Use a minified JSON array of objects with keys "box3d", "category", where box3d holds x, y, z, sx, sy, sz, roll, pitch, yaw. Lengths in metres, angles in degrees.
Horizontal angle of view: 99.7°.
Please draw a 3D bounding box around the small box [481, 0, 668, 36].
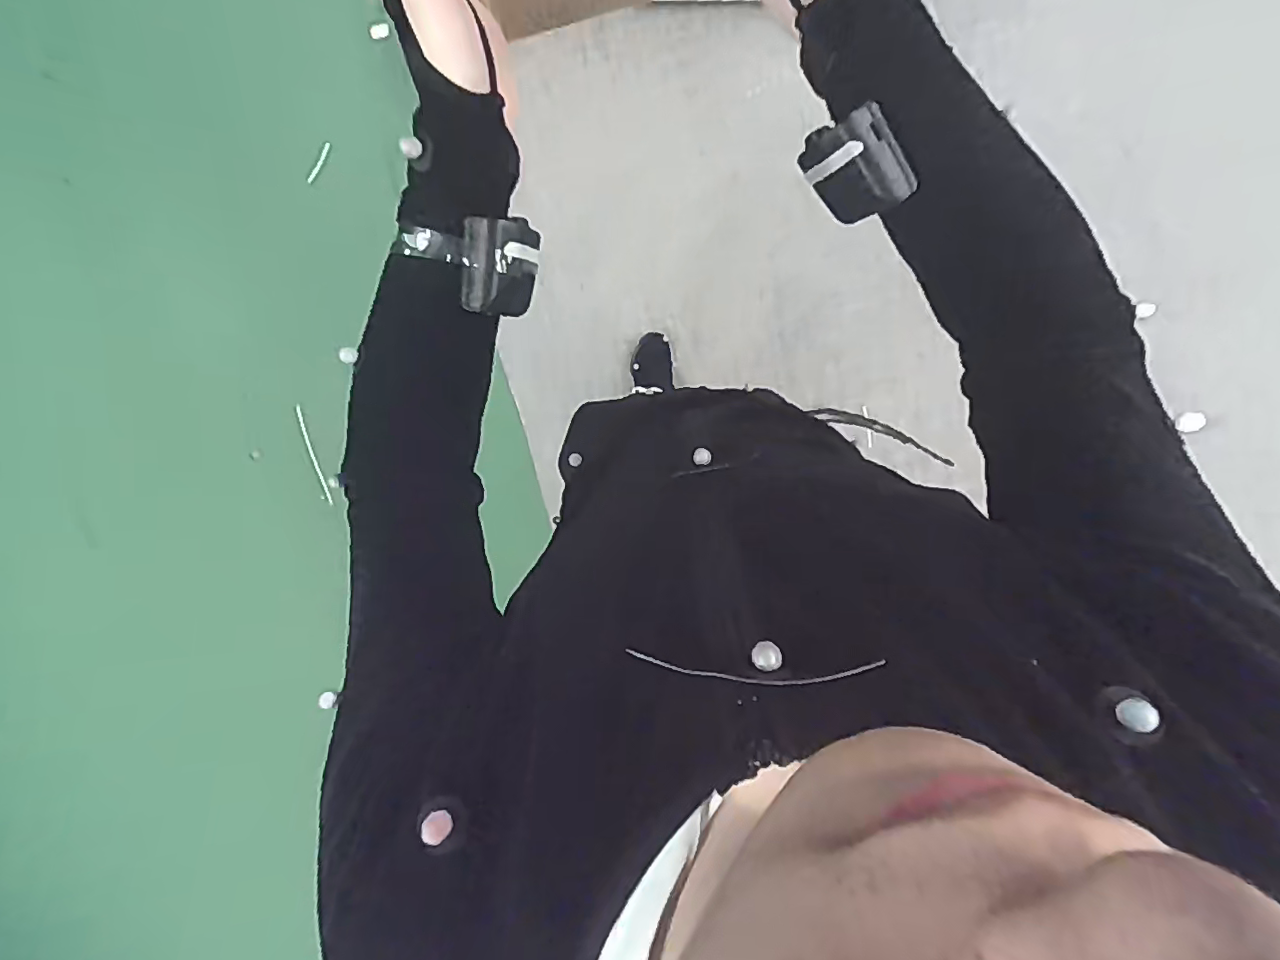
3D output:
[{"box3d":[-0.040,-0.394,0.300,0.179,0.176,0.168,-11,107,6],"category":"small box"}]
